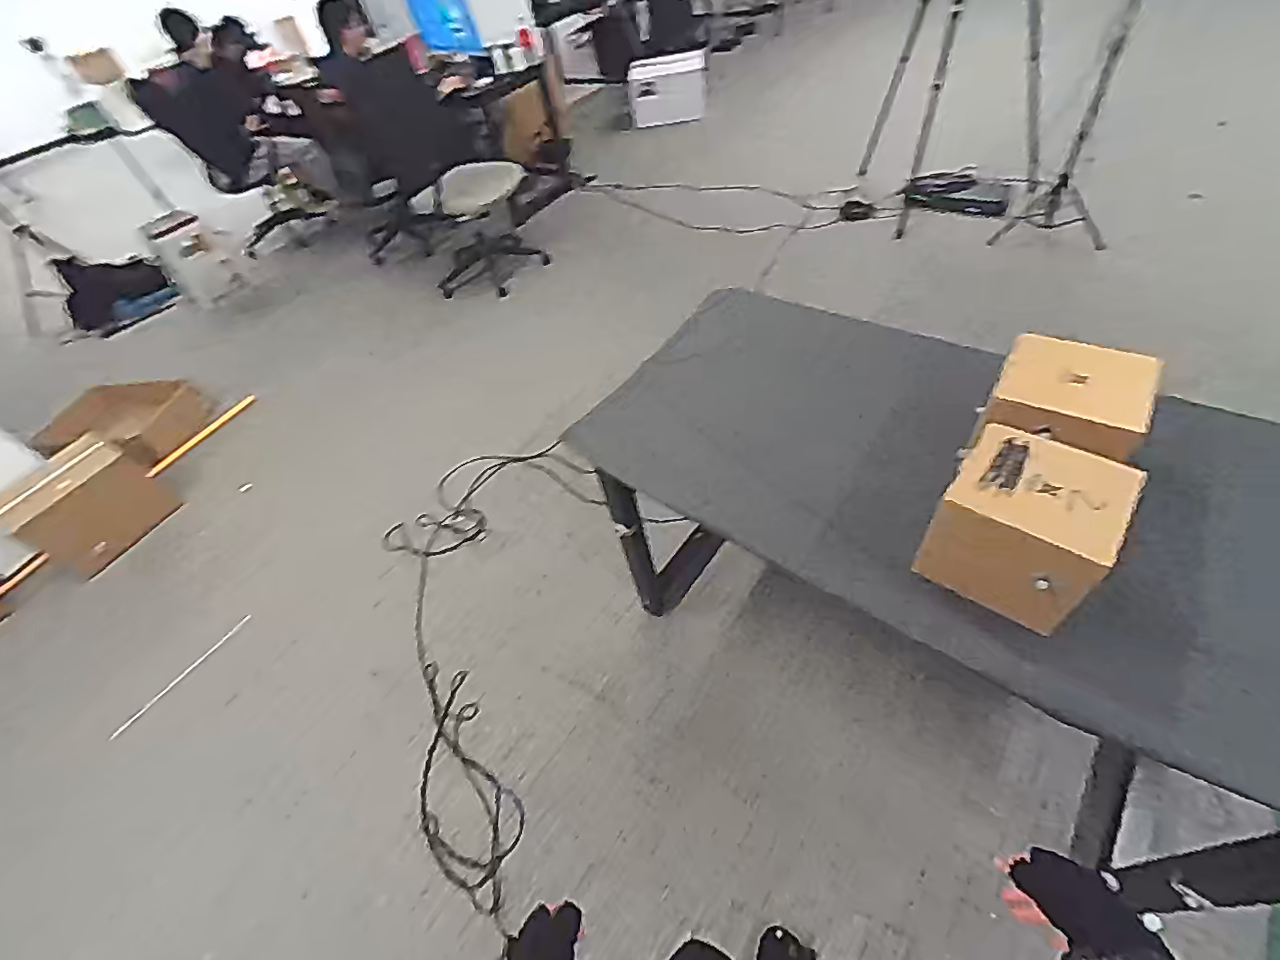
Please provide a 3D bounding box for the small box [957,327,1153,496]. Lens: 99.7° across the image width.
[{"bbox_3d":[0.616,-0.100,0.820,0.179,0.176,0.168,22,59,29],"label":"small box"}]
